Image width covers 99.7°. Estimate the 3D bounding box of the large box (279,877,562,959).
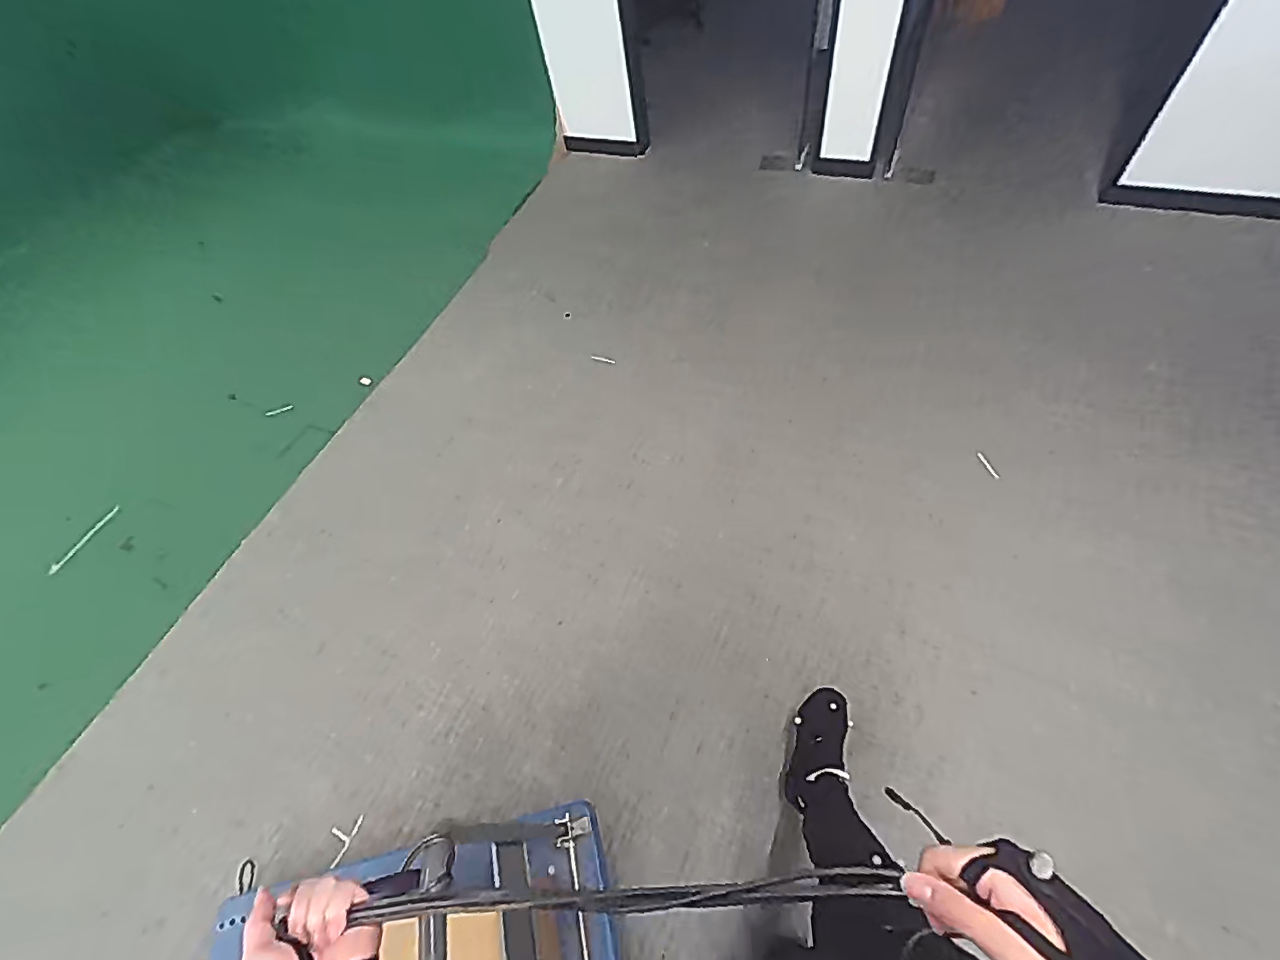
[{"bbox_3d":[-0.360,0.943,0.942,0.408,0.320,0.320,-16,56,0],"label":"large box"}]
